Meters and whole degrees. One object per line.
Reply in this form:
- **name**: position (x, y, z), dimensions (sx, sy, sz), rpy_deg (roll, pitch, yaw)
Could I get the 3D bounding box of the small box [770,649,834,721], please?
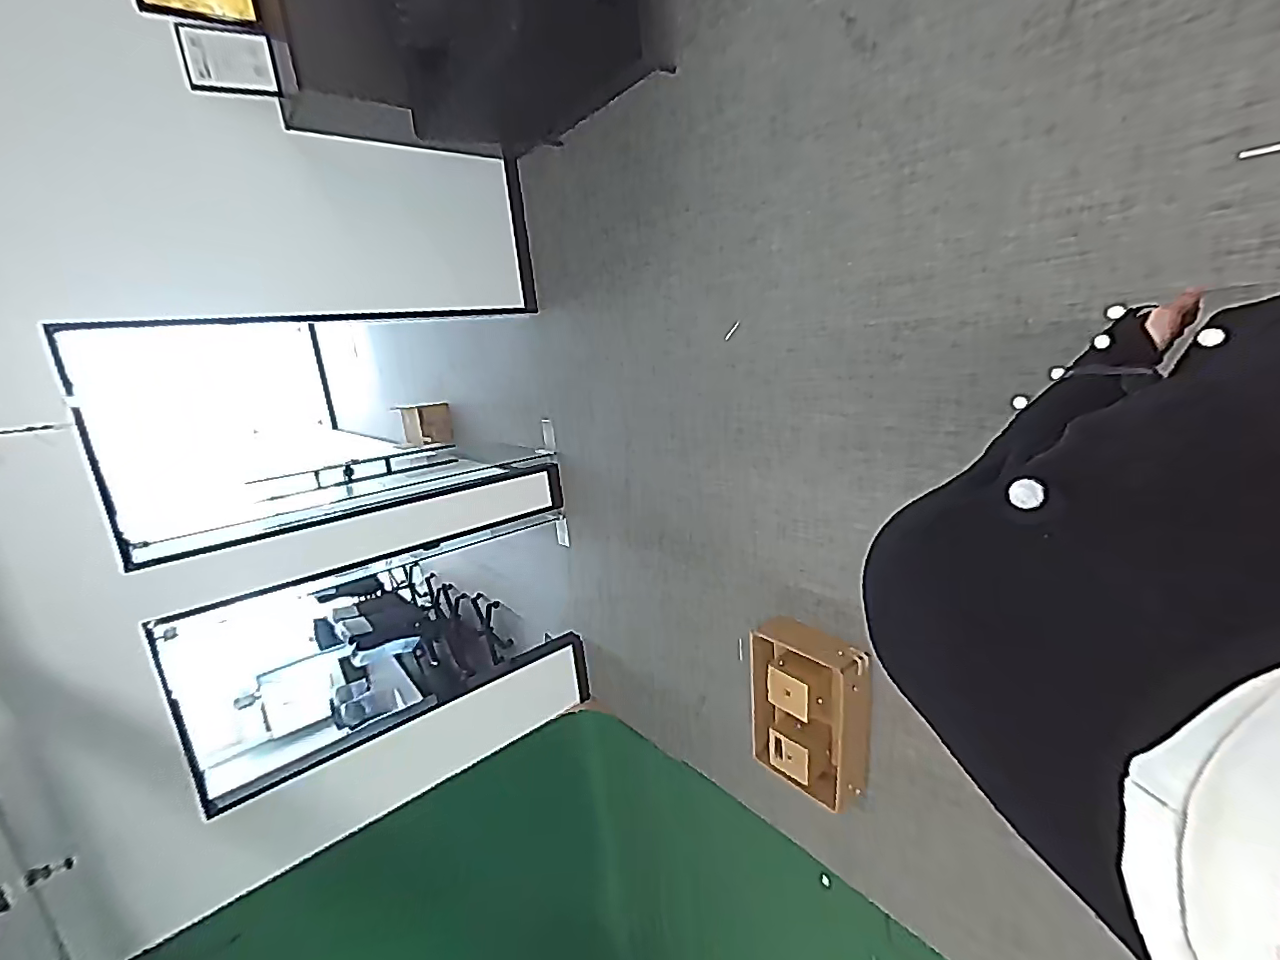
- **small box**: position (0.617, 0.771, 2.056), dimensions (0.179, 0.176, 0.168), rpy_deg (15, 114, 49)
